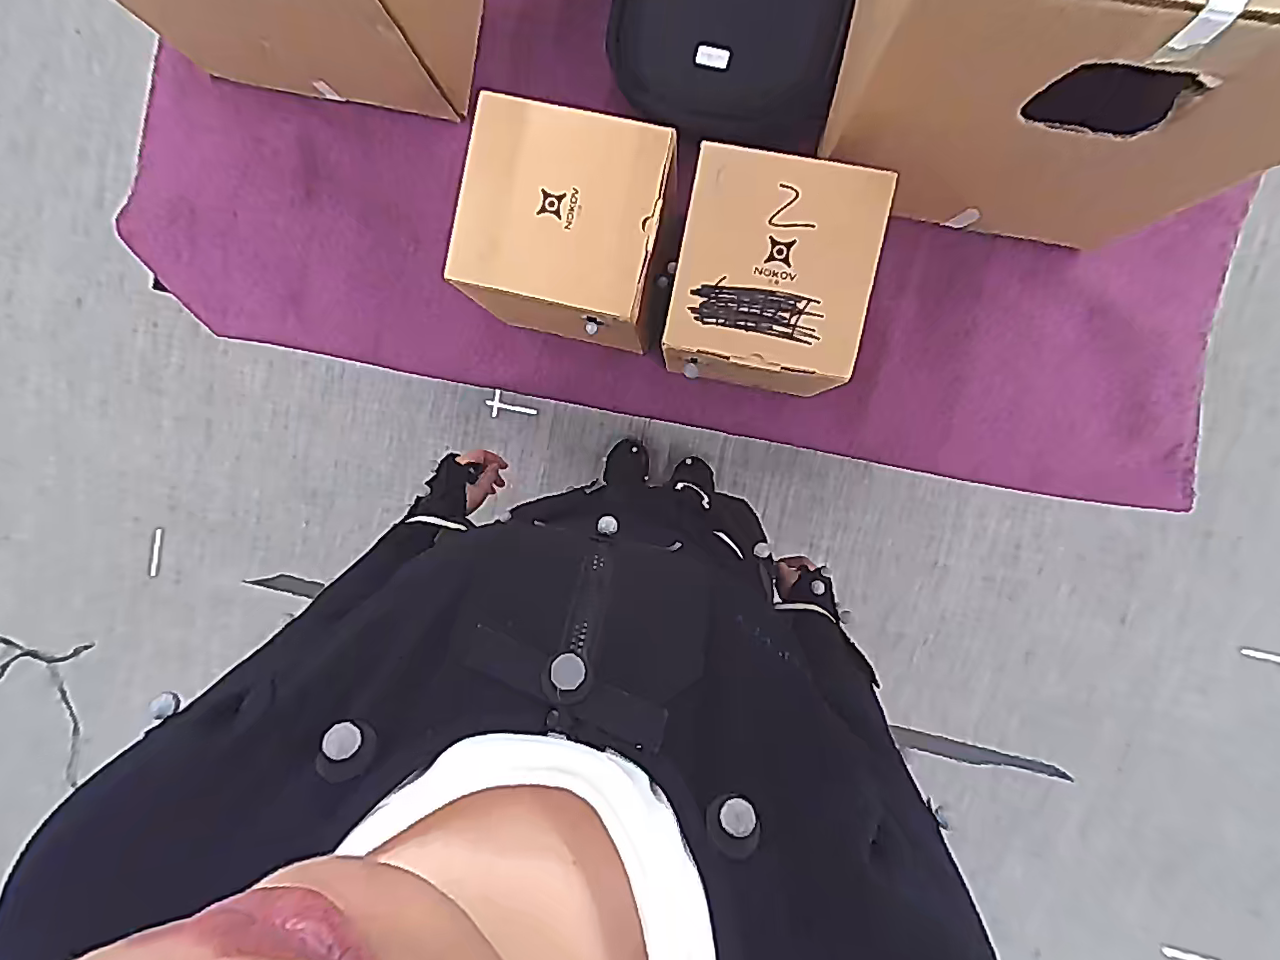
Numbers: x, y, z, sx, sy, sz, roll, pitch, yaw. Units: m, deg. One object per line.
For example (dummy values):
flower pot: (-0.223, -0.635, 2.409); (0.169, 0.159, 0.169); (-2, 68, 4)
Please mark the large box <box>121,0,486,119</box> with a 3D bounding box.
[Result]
large box: (-0.319, -0.623, 0.466); (0.320, 0.320, 0.408); (10, 98, 2)
